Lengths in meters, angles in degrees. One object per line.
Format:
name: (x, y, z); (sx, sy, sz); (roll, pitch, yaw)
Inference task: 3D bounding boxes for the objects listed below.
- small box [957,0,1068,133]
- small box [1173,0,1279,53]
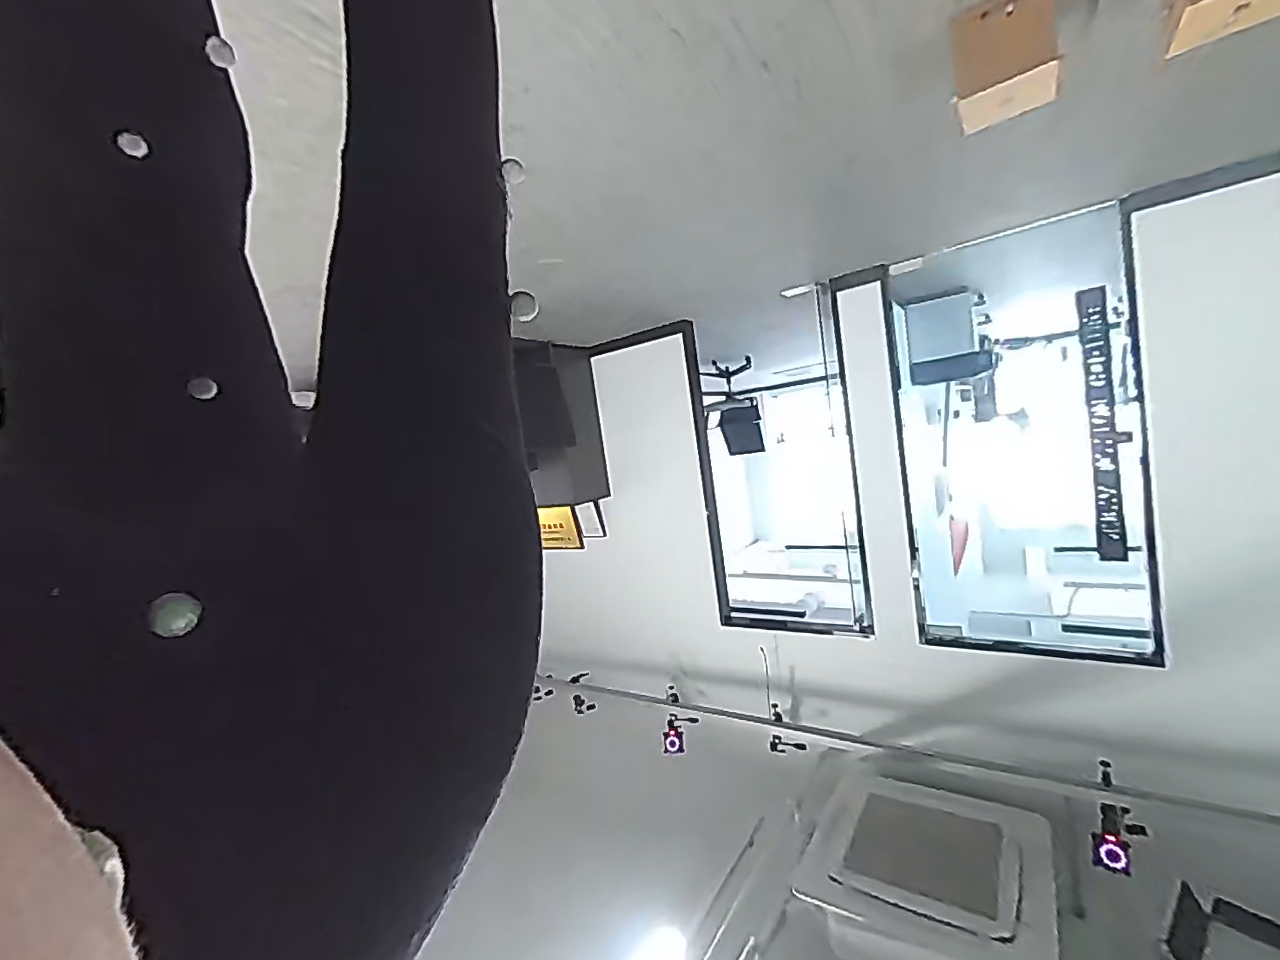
small box: (0.745, -0.848, 1.086); (0.168, 0.176, 0.179); (-6, -177, 36)
small box: (1.007, -0.872, 0.889); (0.168, 0.176, 0.179); (-5, -175, 36)
